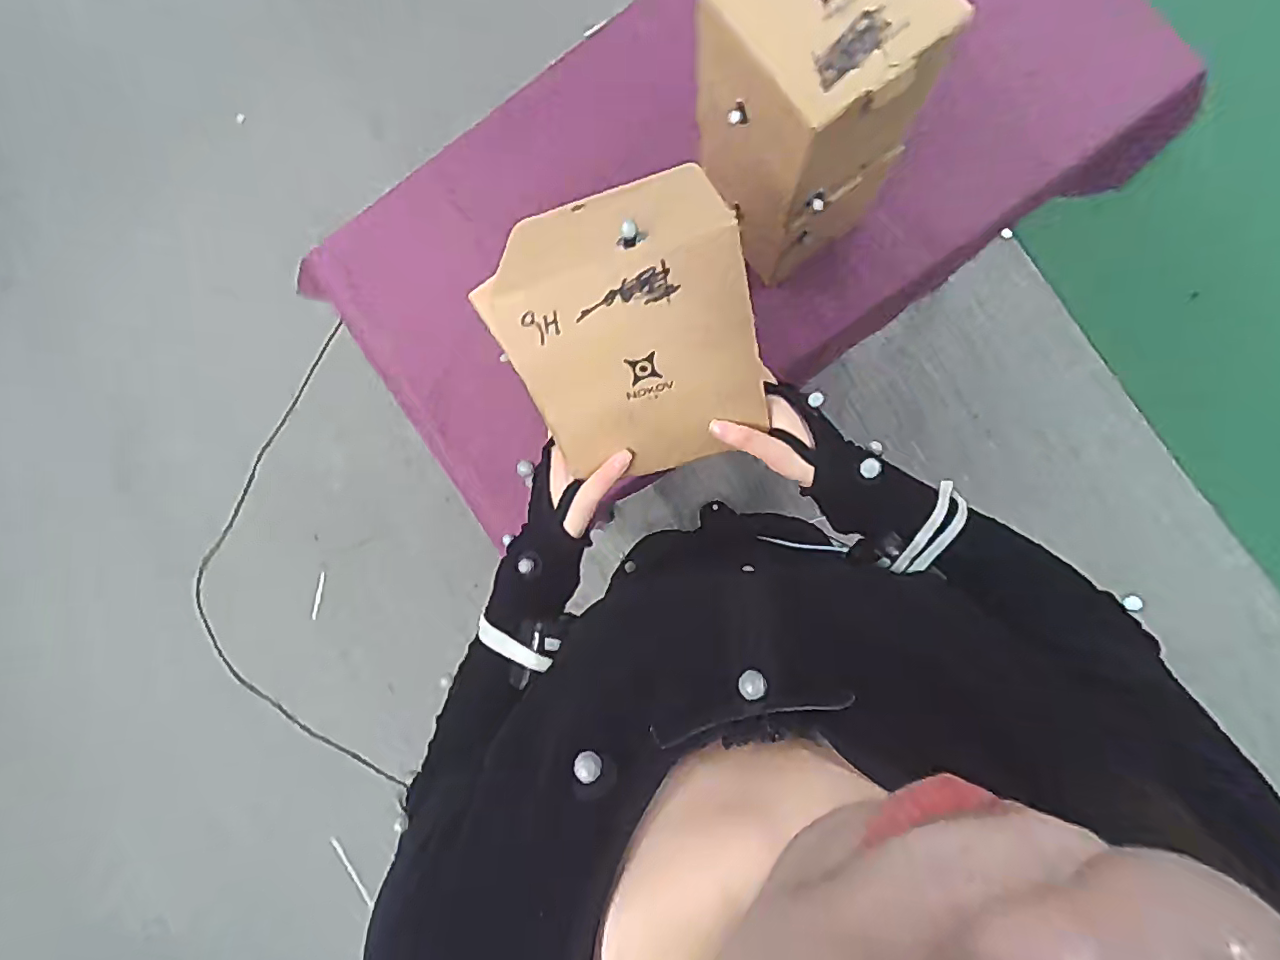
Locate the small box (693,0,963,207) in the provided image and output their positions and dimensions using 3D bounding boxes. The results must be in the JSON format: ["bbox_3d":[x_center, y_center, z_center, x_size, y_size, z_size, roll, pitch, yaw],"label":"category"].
[{"bbox_3d":[0.171,-0.415,0.550,0.168,0.176,0.179,-36,83,3],"label":"small box"}]

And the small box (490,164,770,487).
[{"bbox_3d":[-0.001,-0.127,0.447,0.168,0.179,0.176,-15,41,8],"label":"small box"}]
